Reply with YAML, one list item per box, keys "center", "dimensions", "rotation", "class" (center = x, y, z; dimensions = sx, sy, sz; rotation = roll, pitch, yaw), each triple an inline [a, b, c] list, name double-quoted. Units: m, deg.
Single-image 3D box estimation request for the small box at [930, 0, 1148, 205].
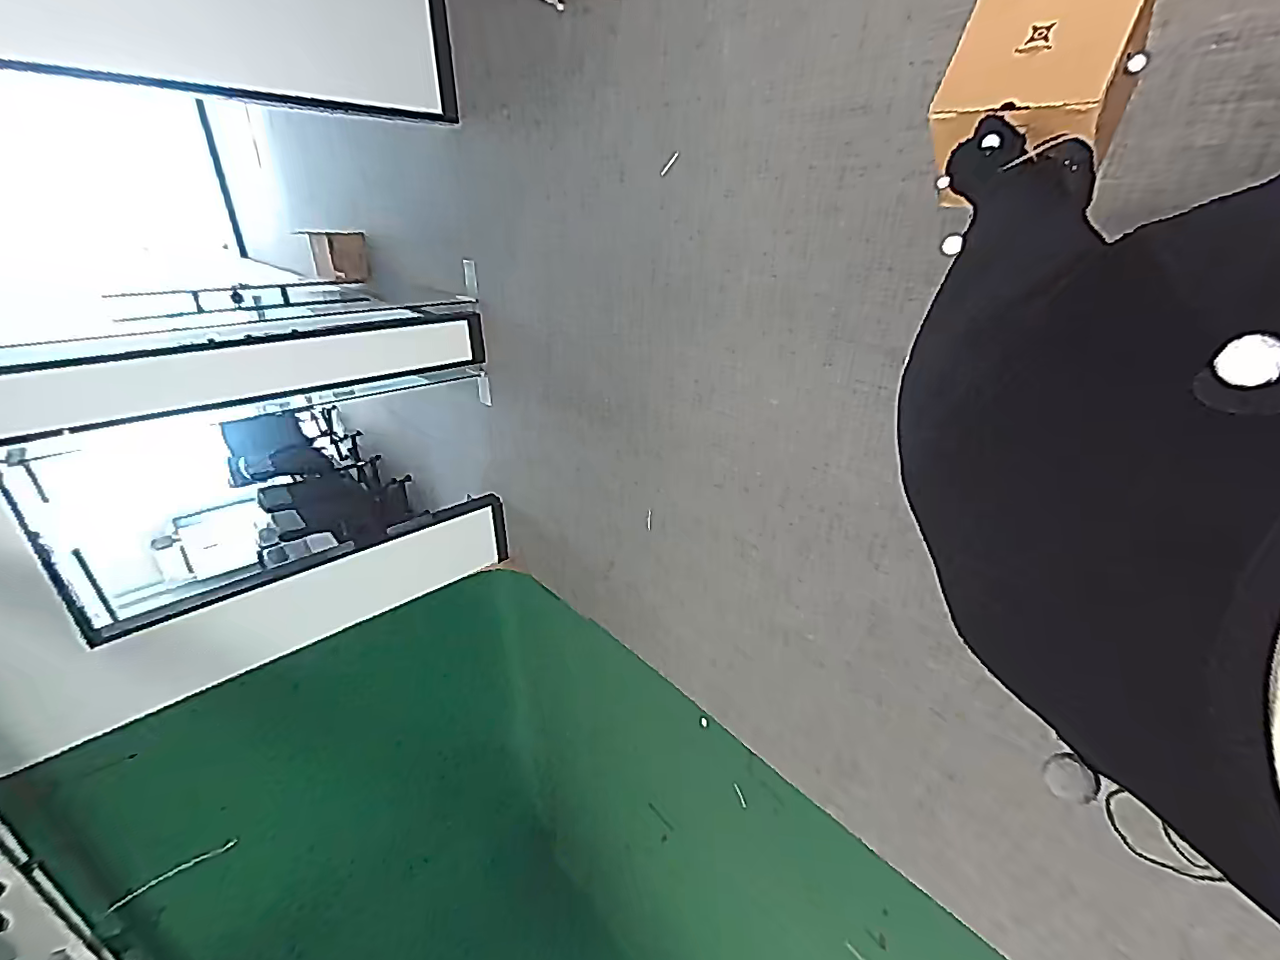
- center: [0.481, -0.472, 0.664]
  dimensions: [0.168, 0.176, 0.179]
  rotation: [23, 92, 36]
  class: "small box"
